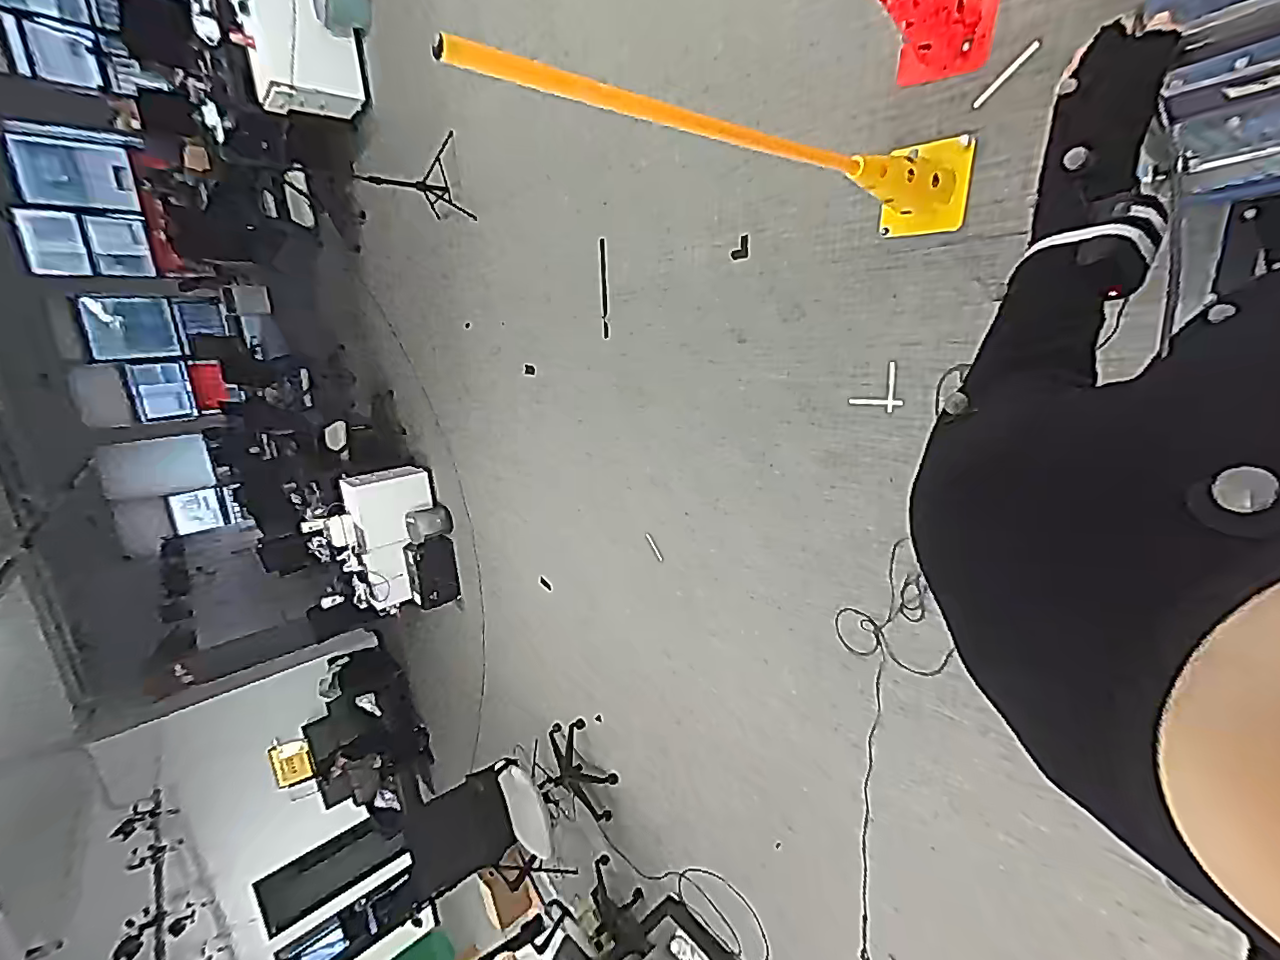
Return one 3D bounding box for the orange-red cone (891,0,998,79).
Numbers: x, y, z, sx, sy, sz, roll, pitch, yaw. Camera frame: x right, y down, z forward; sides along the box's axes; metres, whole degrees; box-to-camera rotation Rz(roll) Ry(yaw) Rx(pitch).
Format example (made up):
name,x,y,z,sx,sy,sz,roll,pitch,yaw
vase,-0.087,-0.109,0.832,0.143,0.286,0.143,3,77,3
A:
name,x,y,z,sx,sy,sz,roll,pitch,yaw
orange-red cone,0.561,-0.989,1.095,0.198,0.360,0.199,23,118,43
